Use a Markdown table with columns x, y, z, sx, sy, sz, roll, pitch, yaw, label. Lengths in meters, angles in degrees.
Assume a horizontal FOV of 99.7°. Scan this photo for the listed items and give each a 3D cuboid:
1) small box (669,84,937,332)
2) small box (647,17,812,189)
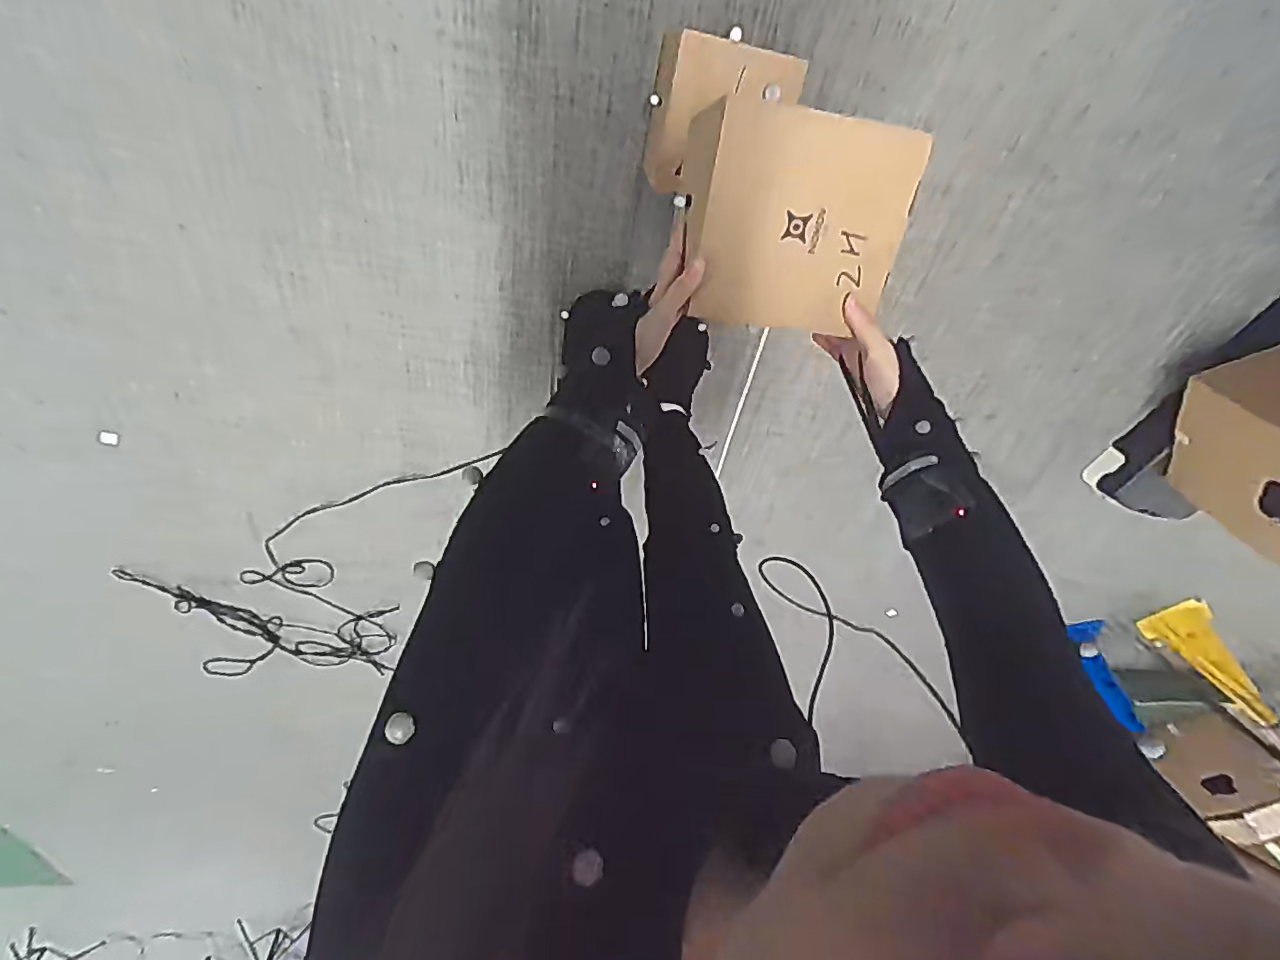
| x | y | z | sx | sy | sz | roll | pitch | yaw | label |
| --- | --- | --- | --- | --- | --- | --- | --- | --- | --- |
| 0.131 | -0.255 | 0.520 | 0.179 | 0.176 | 0.168 | 5 | 120 | -9 | small box |
| 0.108 | -0.510 | 0.749 | 0.168 | 0.176 | 0.179 | 6 | 129 | -11 | small box |
